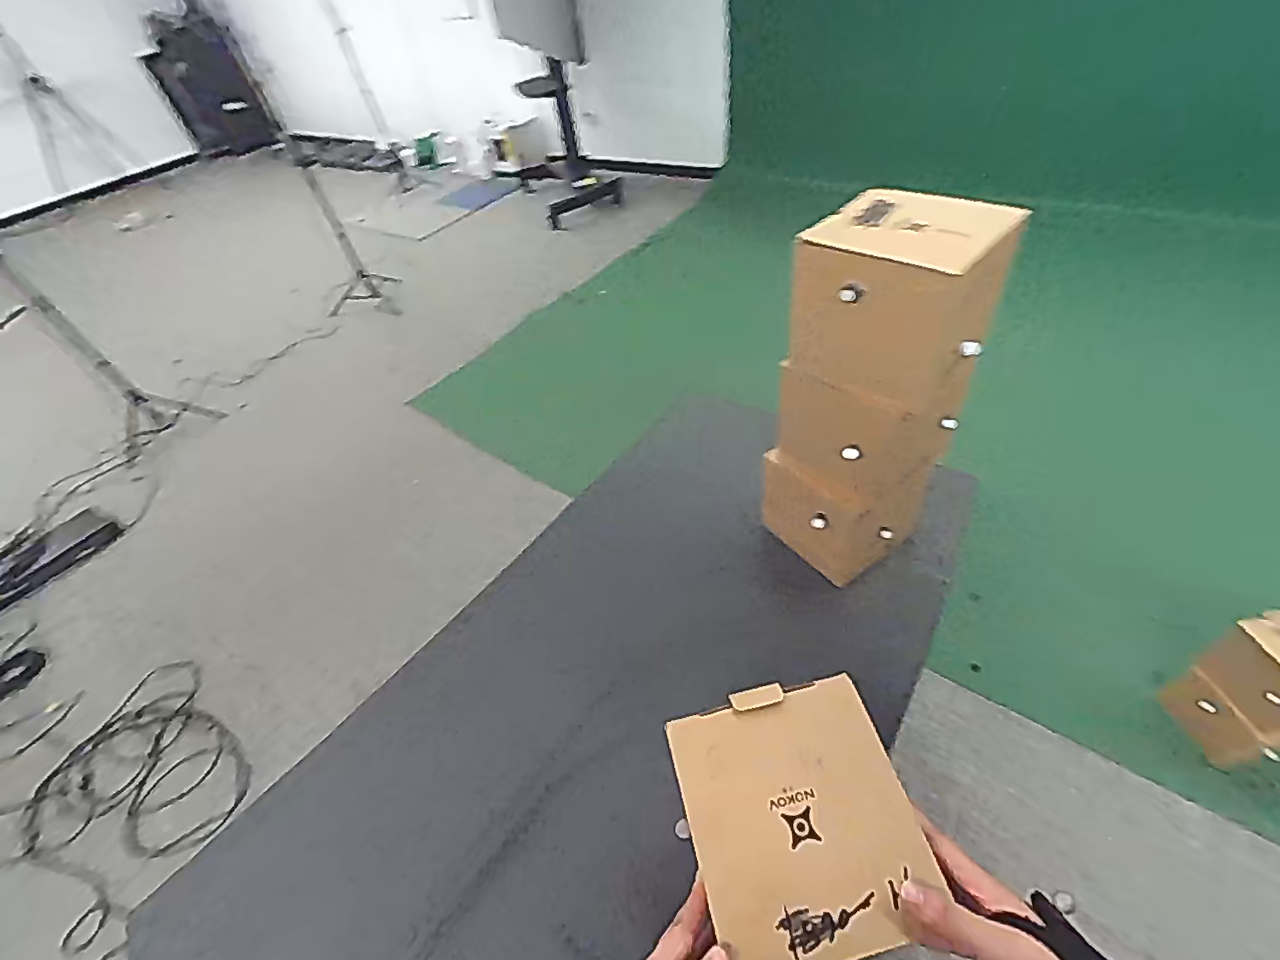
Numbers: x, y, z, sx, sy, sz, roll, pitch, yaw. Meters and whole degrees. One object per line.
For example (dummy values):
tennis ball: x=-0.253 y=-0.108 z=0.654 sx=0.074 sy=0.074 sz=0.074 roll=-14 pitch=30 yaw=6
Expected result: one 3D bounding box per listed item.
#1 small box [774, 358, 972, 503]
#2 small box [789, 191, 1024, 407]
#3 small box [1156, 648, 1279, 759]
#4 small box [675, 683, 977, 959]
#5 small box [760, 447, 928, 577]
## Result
small box: x=0.304 y=-0.093 z=0.738 sx=0.168 sy=0.176 sz=0.179 roll=-34 pitch=47 yaw=-22
small box: x=0.288 y=-0.209 z=0.622 sx=0.179 sy=0.176 sz=0.168 roll=31 pitch=59 yaw=34
small box: x=1.346 y=0.509 z=1.217 sx=0.168 sy=0.176 sz=0.179 roll=-12 pitch=45 yaw=0
small box: x=0.132 y=0.301 z=0.459 sx=0.168 sy=0.176 sz=0.179 roll=-14 pitch=52 yaw=-1
small box: x=0.309 y=0.028 z=0.848 sx=0.168 sy=0.176 sz=0.179 roll=-31 pitch=47 yaw=-18
